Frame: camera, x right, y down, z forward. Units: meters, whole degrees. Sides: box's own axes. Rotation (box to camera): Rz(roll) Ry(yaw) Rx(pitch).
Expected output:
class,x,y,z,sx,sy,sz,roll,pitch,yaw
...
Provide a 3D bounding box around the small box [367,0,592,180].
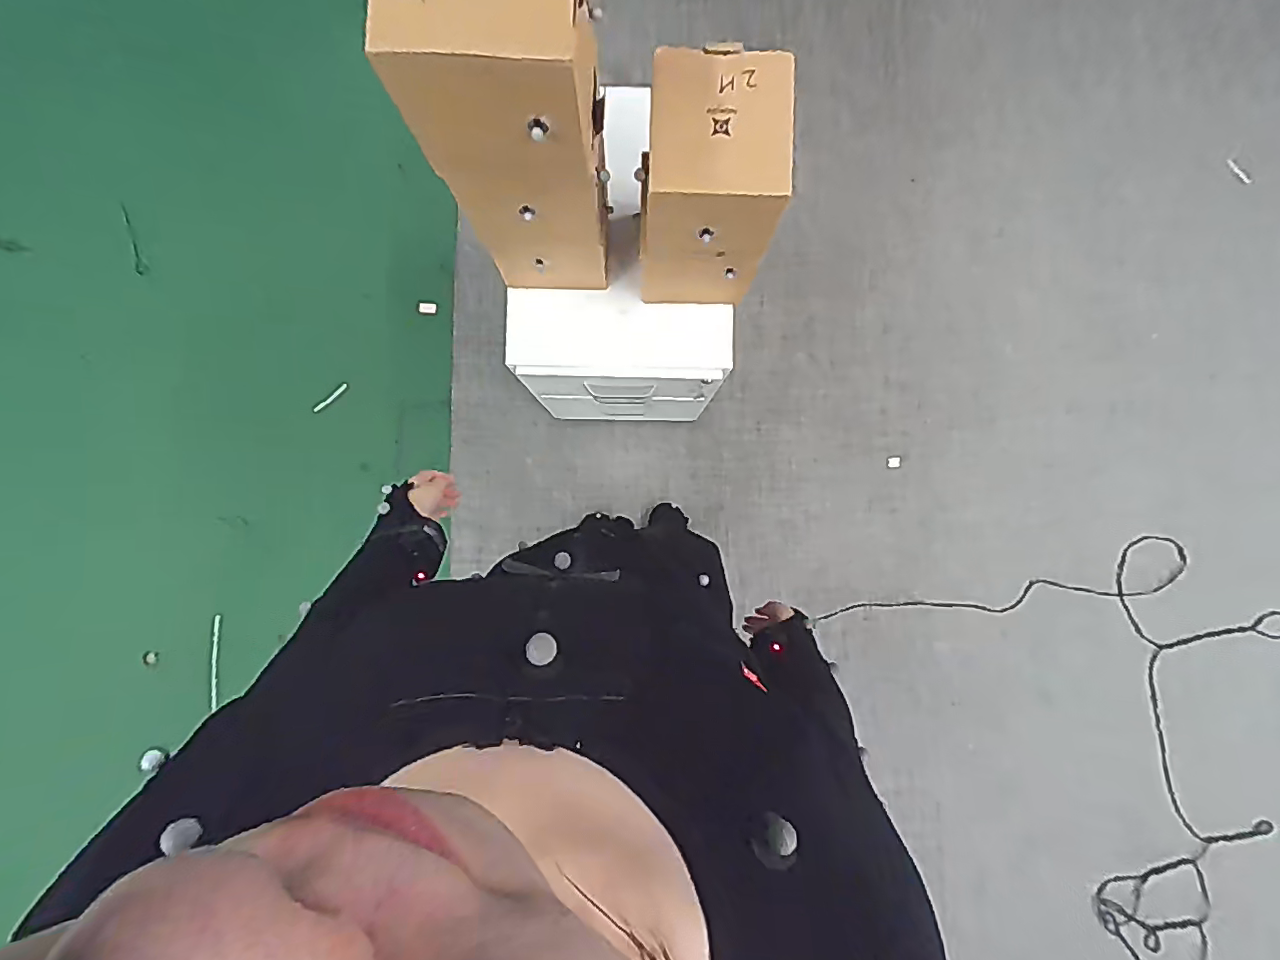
class,x,y,z,sx,sy,sz,roll,pitch,yaw
small box,-0.141,-0.425,0.536,0.179,0.176,0.168,2,86,-1

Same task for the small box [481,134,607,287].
class,x,y,z,sx,sy,sz,roll,pitch,yaw
small box,-0.144,-0.421,0.864,0.179,0.176,0.168,1,88,-2

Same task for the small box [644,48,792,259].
class,x,y,z,sx,sy,sz,roll,pitch,yaw
small box,0.090,-0.406,0.701,0.168,0.176,0.179,2,87,-1
